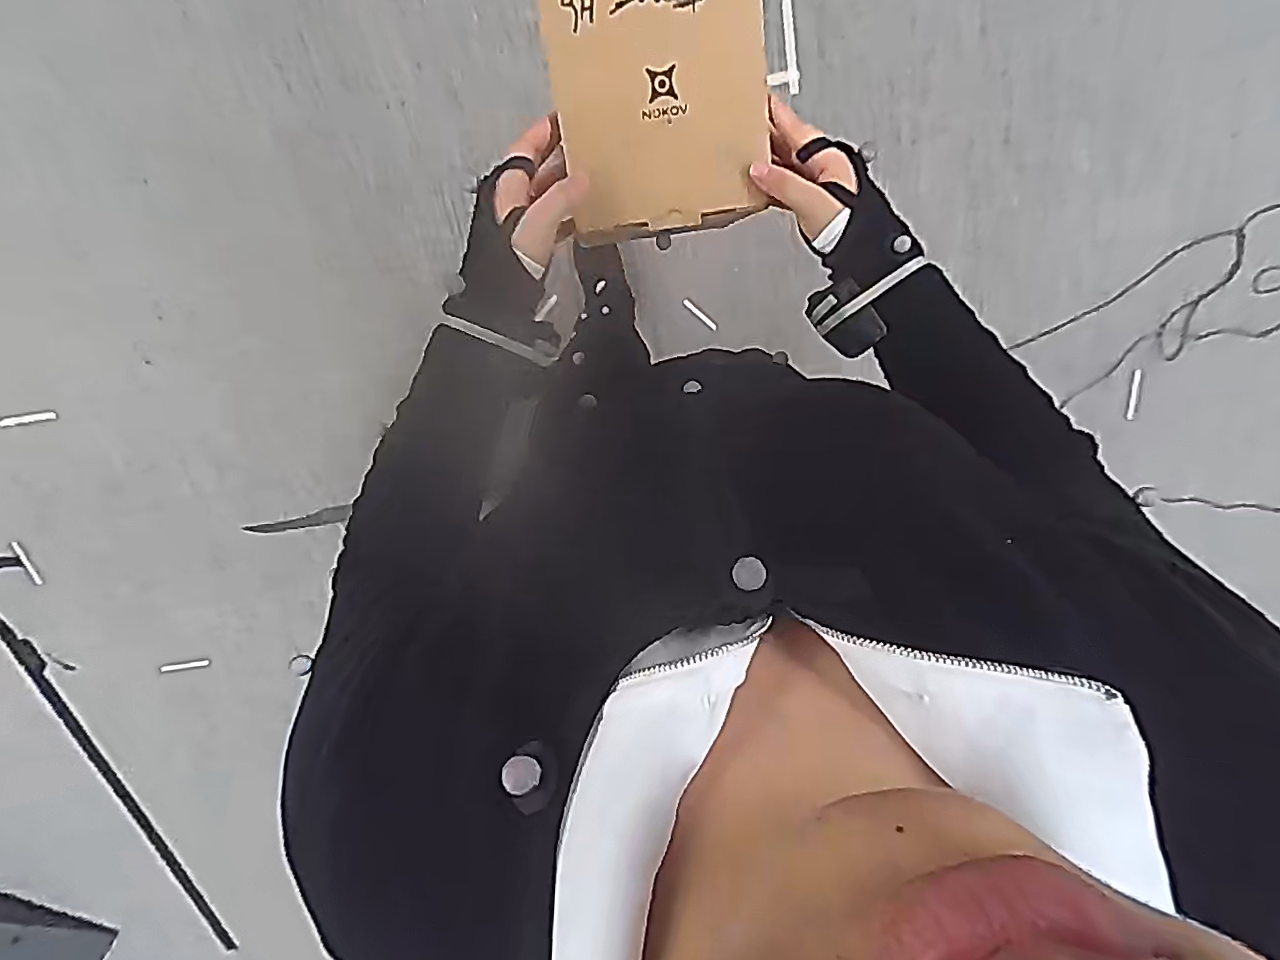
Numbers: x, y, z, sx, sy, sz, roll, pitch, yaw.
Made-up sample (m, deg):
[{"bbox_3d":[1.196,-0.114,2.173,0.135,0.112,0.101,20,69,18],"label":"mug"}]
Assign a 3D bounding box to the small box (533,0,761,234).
[{"bbox_3d":[0.007,-0.328,0.492,0.168,0.176,0.179,-8,111,-1],"label":"small box"}]
